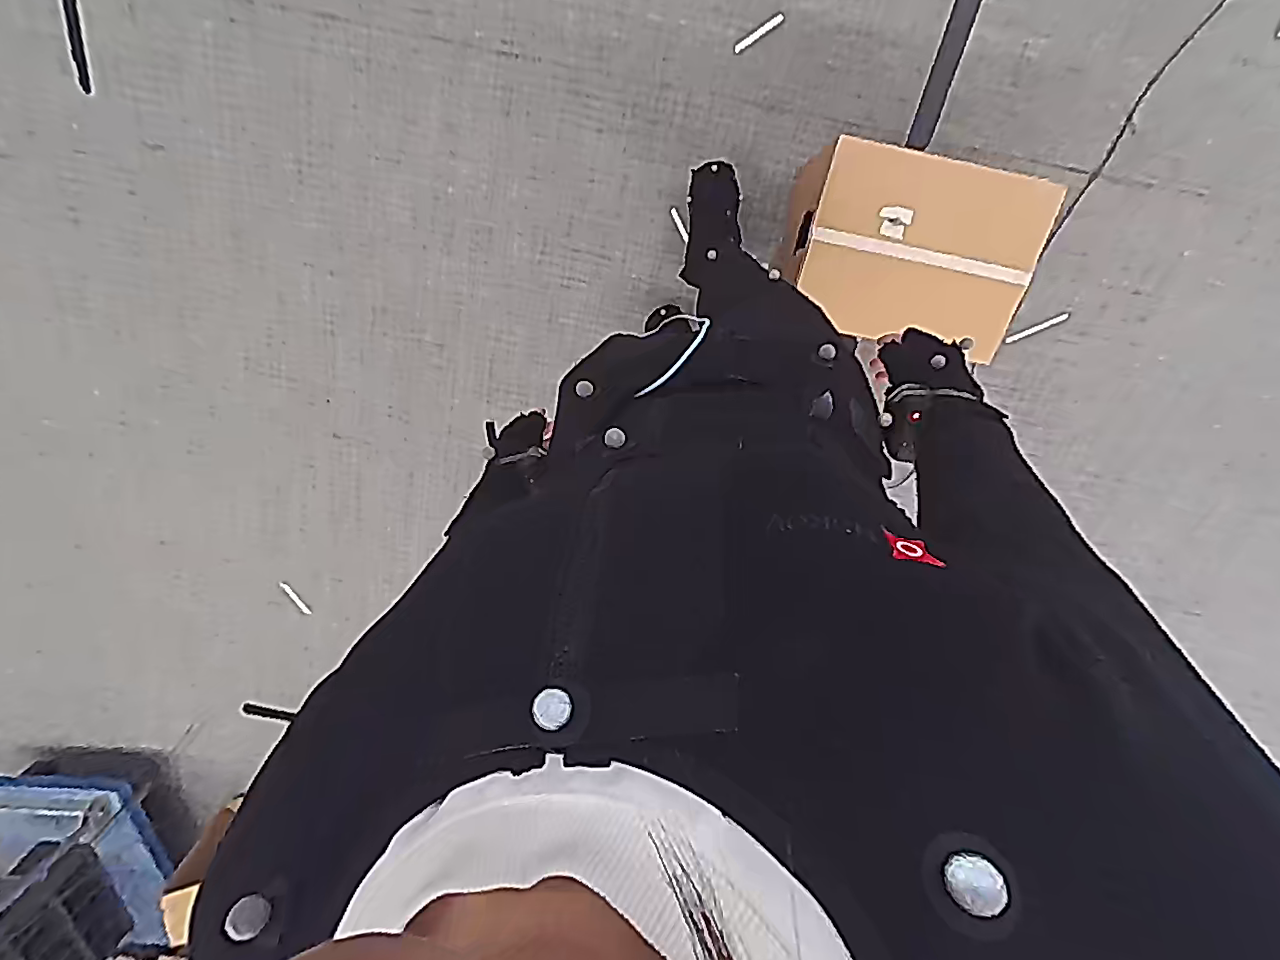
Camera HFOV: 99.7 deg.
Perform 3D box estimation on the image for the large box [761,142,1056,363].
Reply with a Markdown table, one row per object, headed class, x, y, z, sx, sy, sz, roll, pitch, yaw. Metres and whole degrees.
| class | x | y | z | sx | sy | sz | roll | pitch | yaw |
| --- | --- | --- | --- | --- | --- | --- | --- | --- | --- |
| large box | 0.501 | -0.453 | 1.112 | 0.408 | 0.320 | 0.320 | 13 | 111 | 0 |
